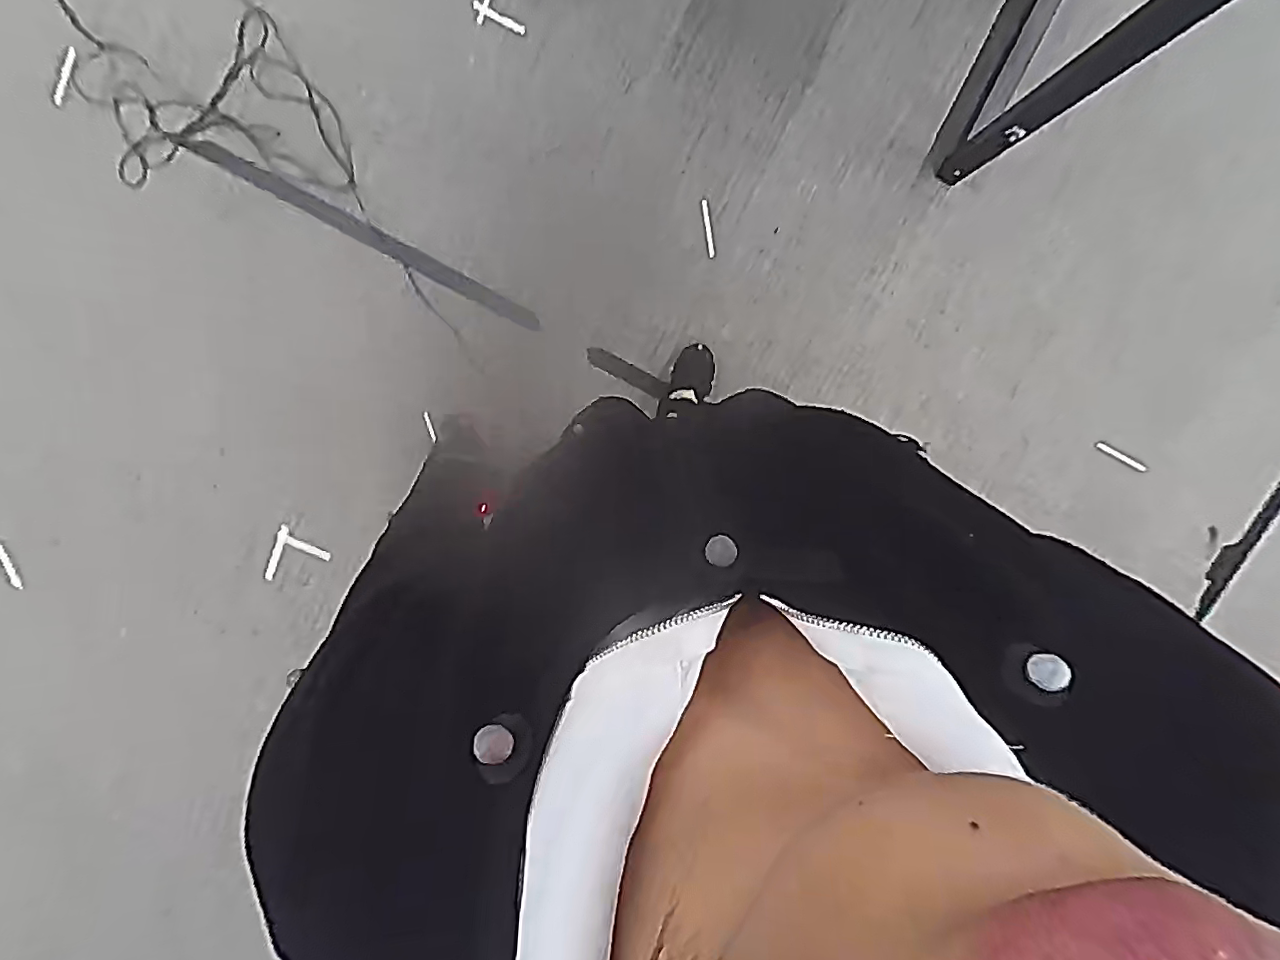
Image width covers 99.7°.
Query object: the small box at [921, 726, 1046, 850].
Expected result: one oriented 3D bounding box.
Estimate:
[{"bbox_3d":[0.841,0.763,1.351,0.168,0.176,0.179,28,103,-5],"label":"small box"}]
